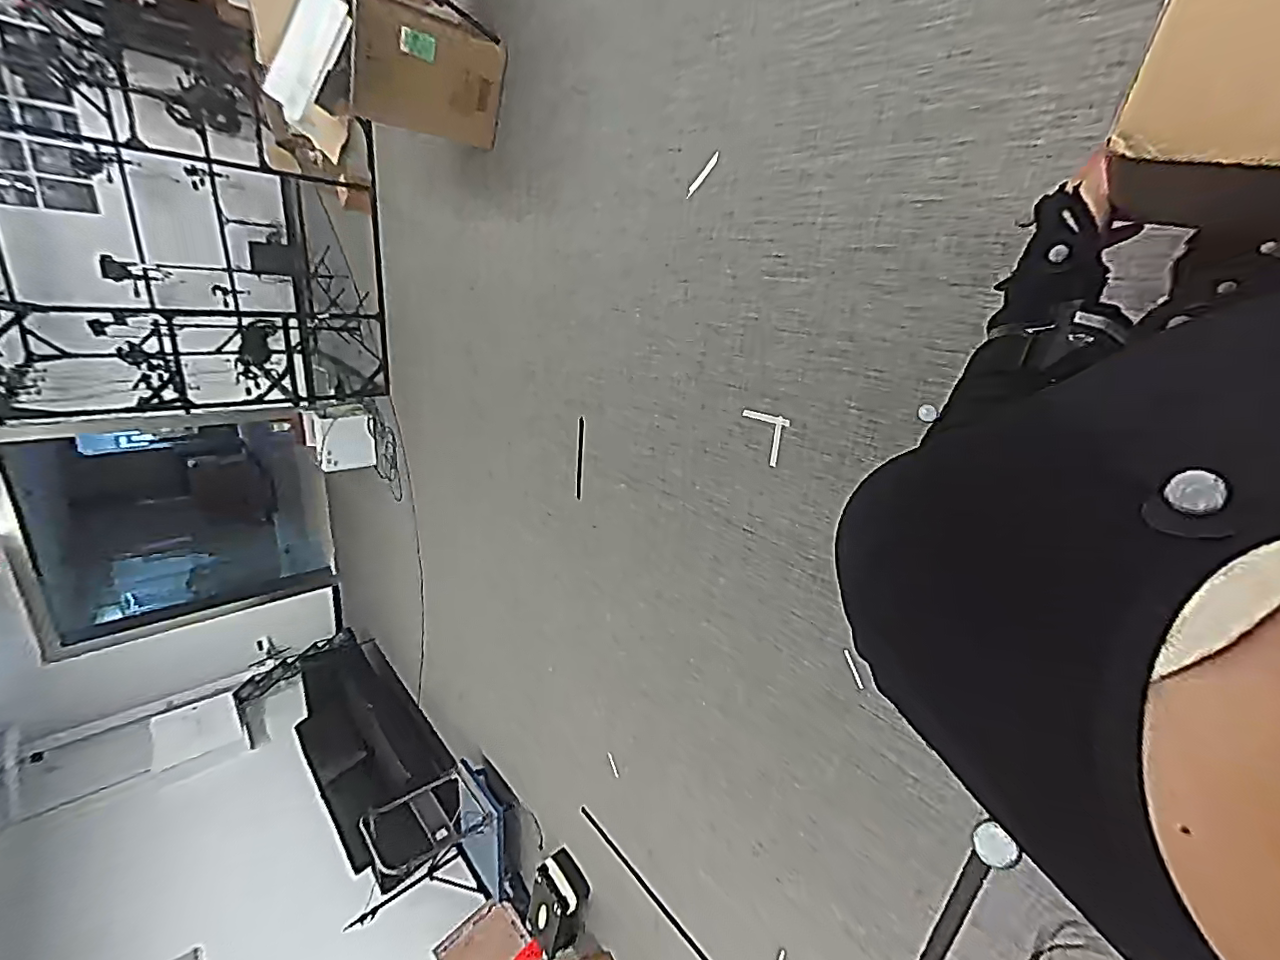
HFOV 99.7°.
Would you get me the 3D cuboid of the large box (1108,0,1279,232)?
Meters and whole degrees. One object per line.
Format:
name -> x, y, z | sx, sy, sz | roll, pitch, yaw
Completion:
large box -> 0.486, -0.261, 0.197 | 0.408, 0.320, 0.320 | 26, 121, 32
